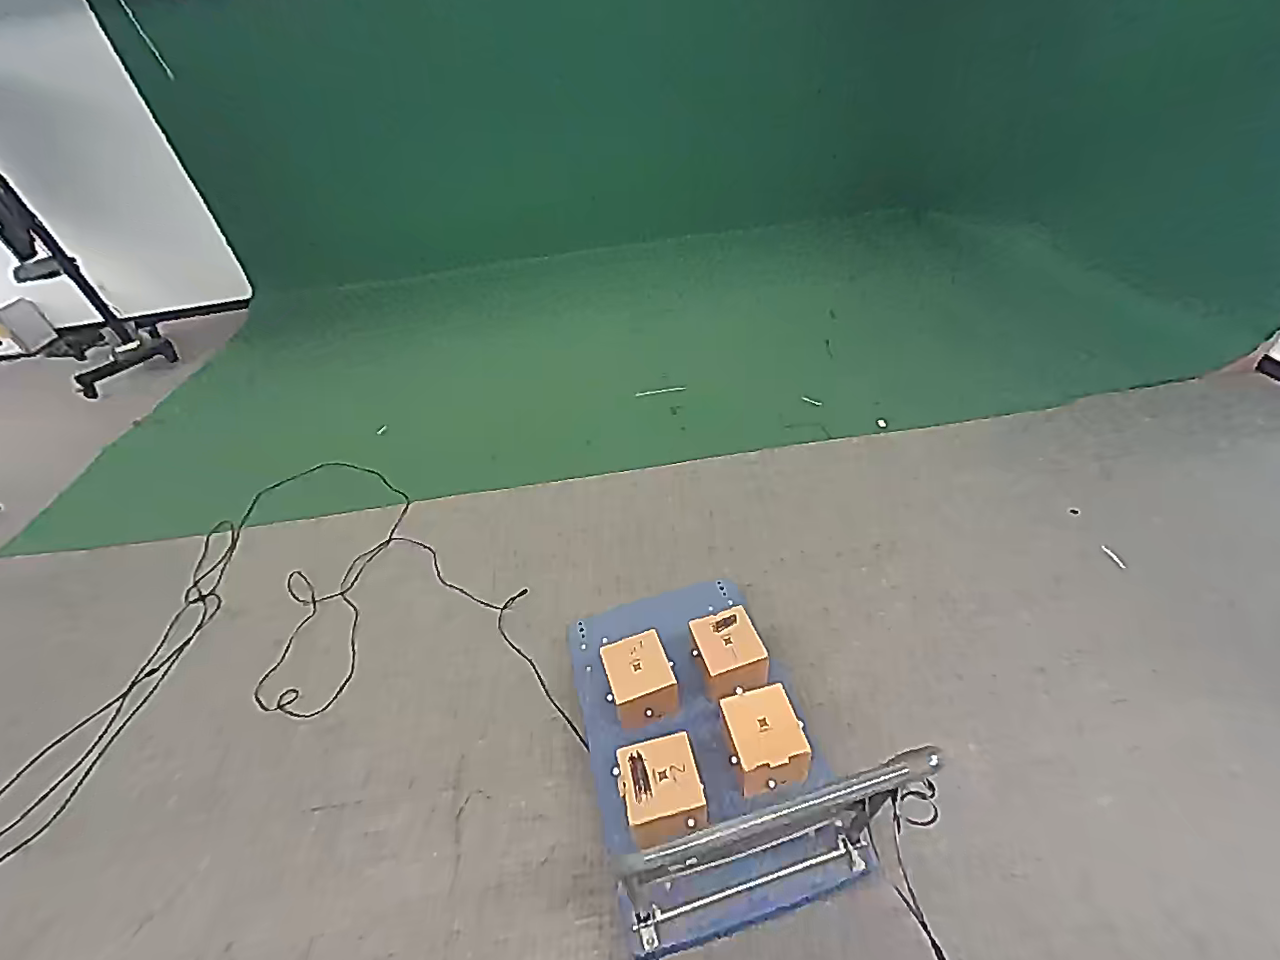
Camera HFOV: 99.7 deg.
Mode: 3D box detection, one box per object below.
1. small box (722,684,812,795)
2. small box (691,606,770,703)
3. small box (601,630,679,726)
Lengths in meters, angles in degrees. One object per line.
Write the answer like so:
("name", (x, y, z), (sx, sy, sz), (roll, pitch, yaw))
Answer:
("small box", (0.306, 0.644, 1.341), (0.168, 0.176, 0.179), (-13, 42, -6))
("small box", (0.250, 0.490, 1.519), (0.168, 0.176, 0.179), (-16, 43, -8))
("small box", (0.003, 0.553, 1.491), (0.168, 0.176, 0.179), (-16, 42, -10))
